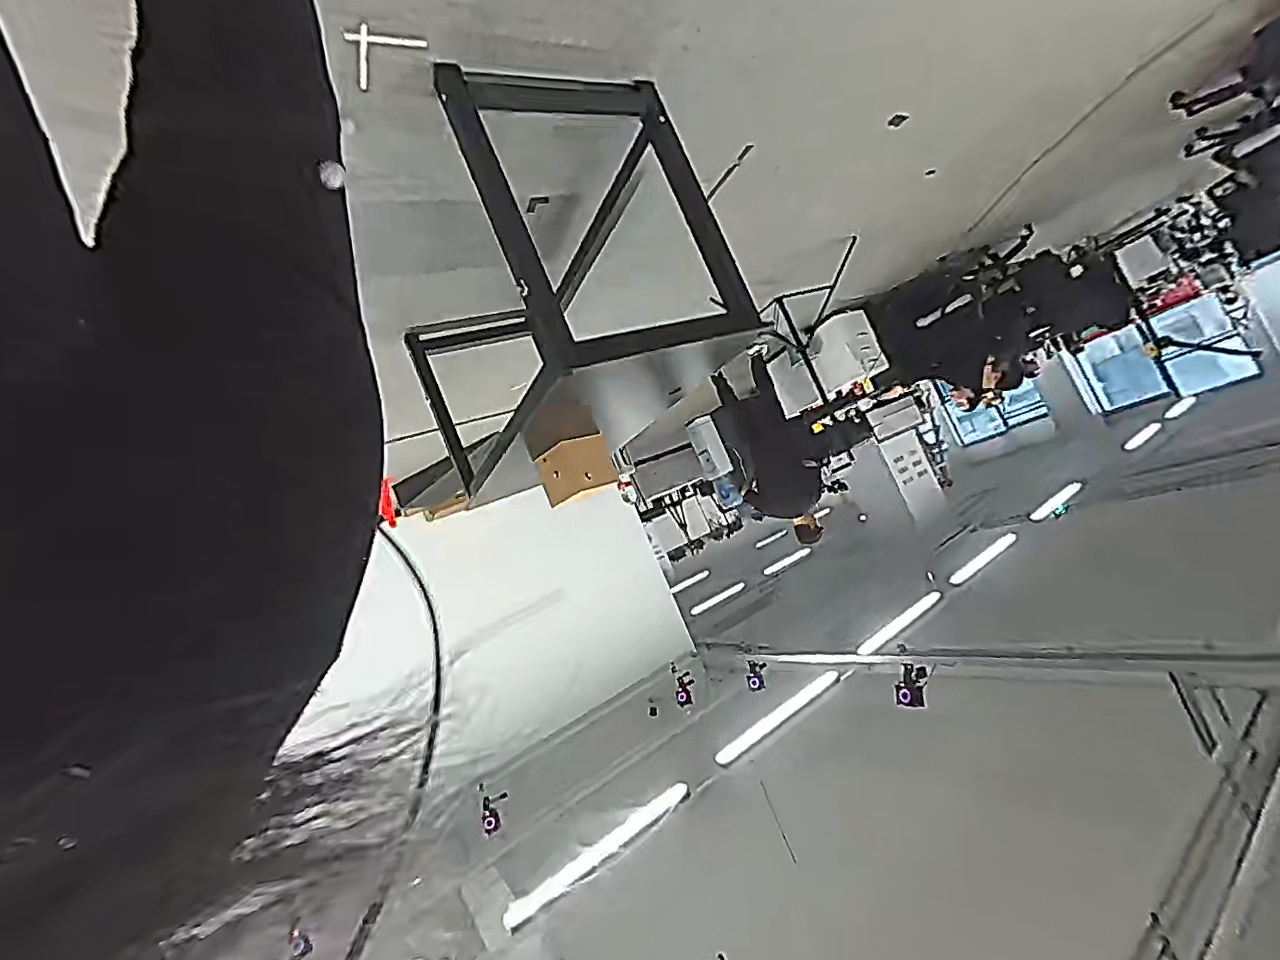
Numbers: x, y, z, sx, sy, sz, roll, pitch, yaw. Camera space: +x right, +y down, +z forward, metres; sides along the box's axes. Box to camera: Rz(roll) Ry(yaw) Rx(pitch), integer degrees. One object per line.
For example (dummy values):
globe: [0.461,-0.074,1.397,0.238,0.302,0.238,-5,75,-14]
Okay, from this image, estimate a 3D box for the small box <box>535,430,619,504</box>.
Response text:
small box: [-0.206,-0.045,1.733,0.168,0.176,0.179,-27,174,41]
